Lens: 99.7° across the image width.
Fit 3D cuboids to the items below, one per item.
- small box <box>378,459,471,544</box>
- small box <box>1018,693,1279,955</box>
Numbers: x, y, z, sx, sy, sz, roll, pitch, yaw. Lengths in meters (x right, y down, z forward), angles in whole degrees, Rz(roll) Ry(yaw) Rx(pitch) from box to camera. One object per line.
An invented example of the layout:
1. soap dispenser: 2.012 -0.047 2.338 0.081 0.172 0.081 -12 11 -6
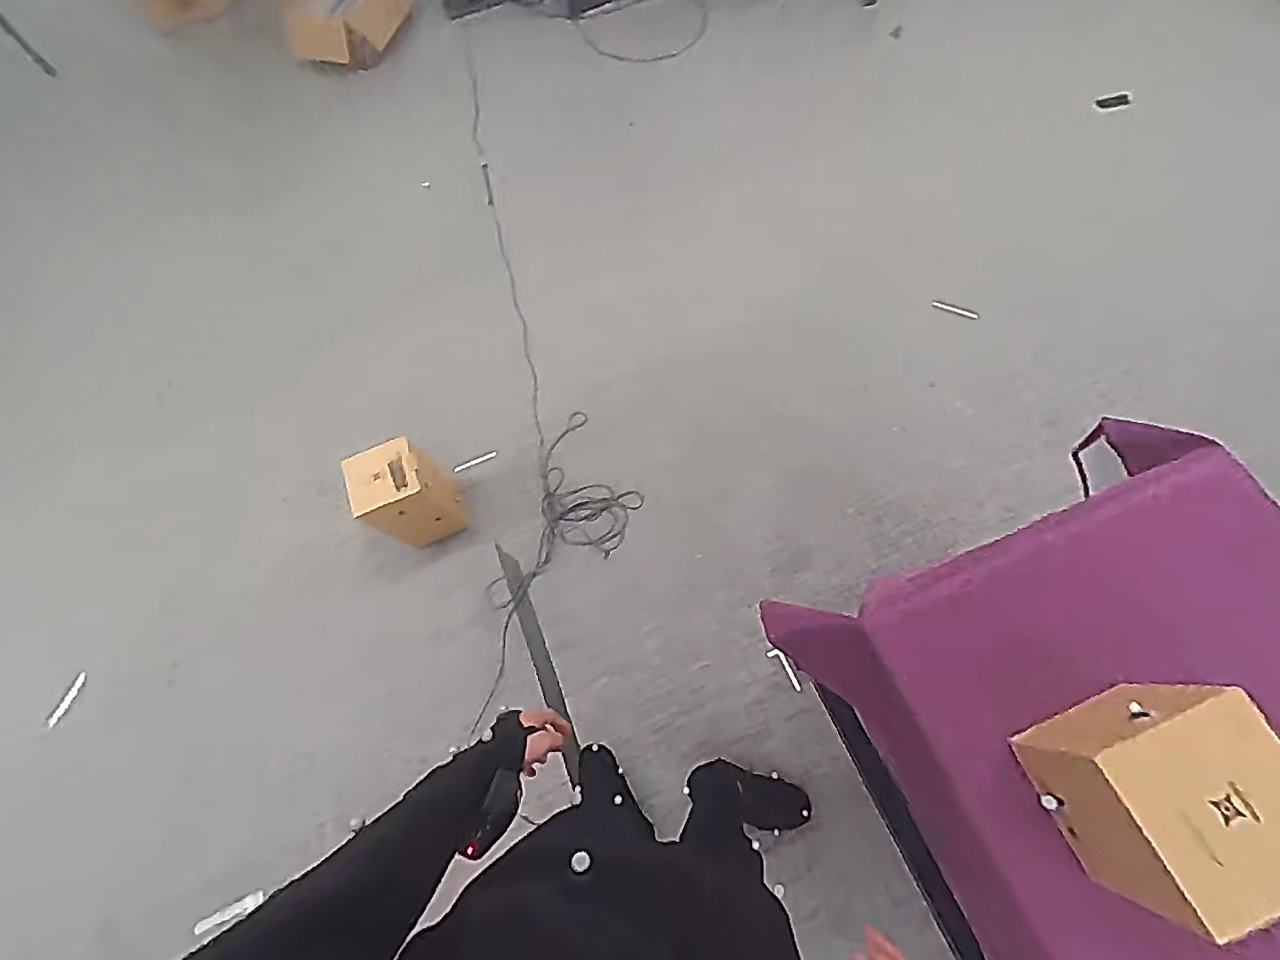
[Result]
1. small box: -0.619 0.069 1.566 0.179 0.176 0.168 -24 70 -3
2. small box: 0.564 0.338 0.576 0.179 0.176 0.168 -23 69 -3
